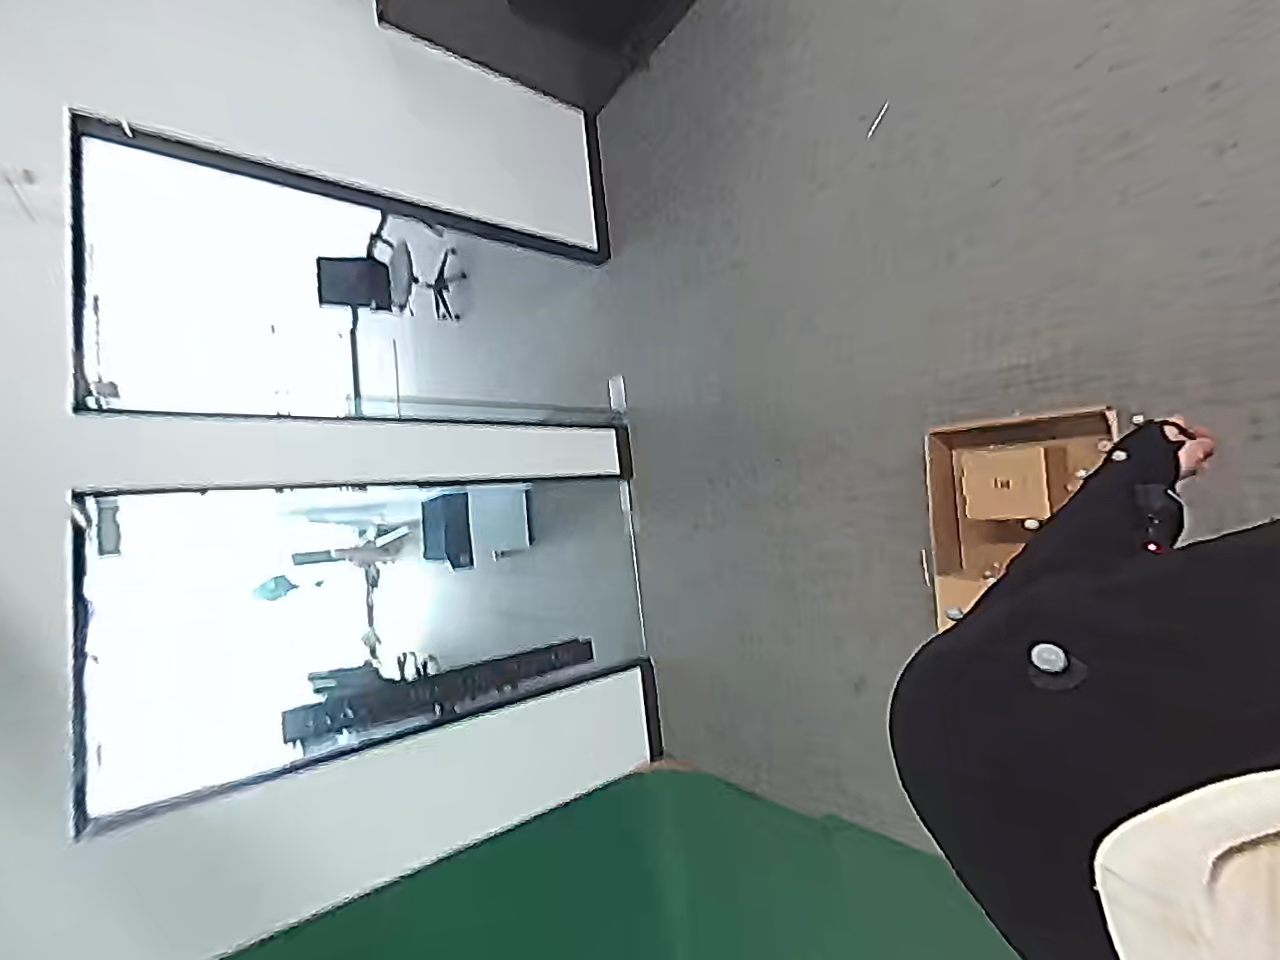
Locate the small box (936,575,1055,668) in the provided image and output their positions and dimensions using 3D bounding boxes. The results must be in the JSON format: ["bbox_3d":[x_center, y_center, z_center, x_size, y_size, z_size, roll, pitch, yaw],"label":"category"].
[{"bbox_3d":[0.800,0.309,1.220,0.179,0.176,0.168,-5,86,53],"label":"small box"}]
